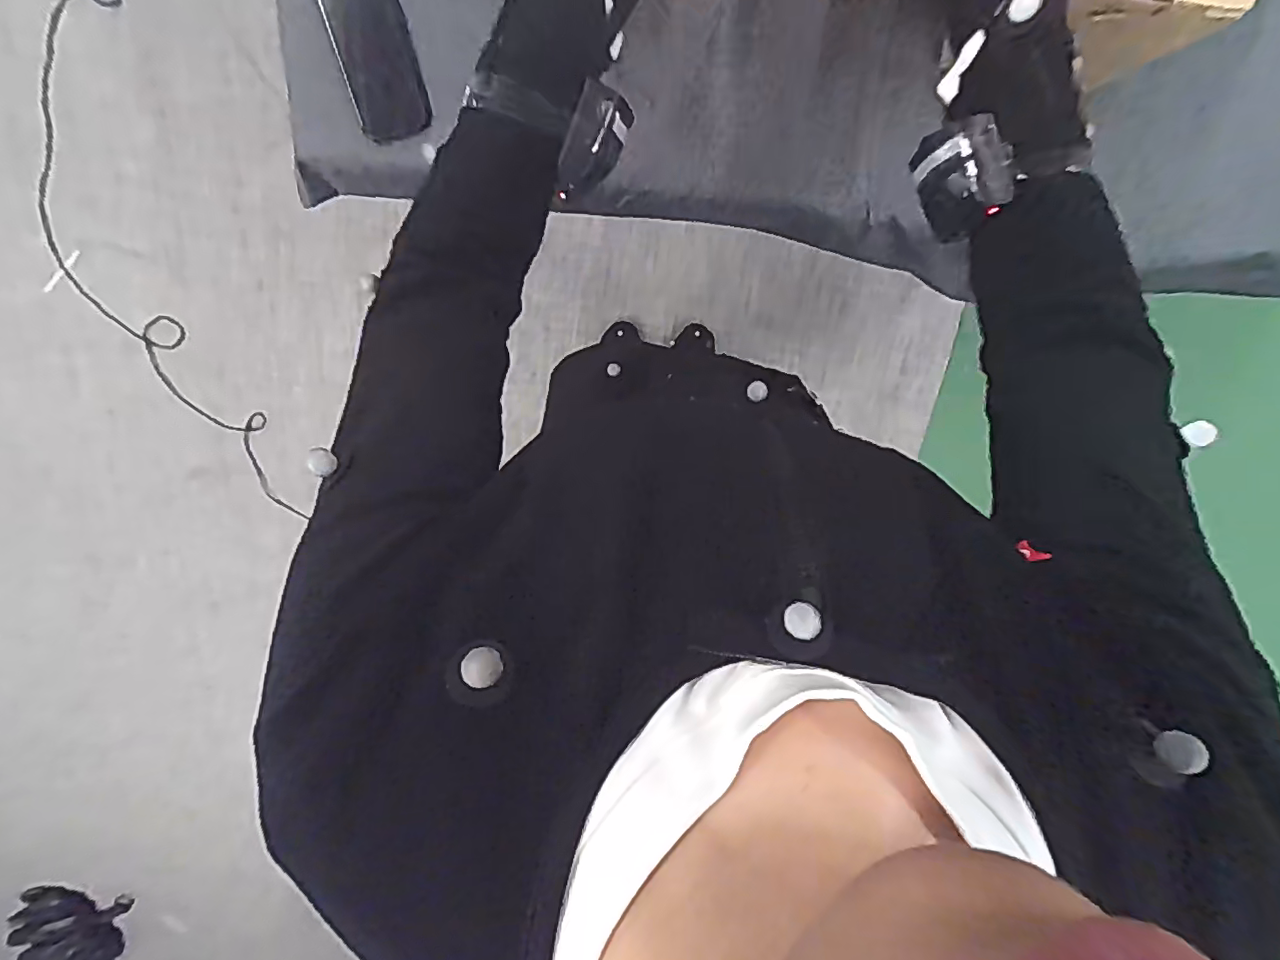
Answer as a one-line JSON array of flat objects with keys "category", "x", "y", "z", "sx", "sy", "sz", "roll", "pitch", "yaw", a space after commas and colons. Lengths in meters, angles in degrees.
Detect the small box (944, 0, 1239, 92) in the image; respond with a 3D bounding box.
[{"category": "small box", "x": 0.408, "y": -0.483, "z": 0.483, "sx": 0.168, "sy": 0.176, "sz": 0.179, "roll": 8, "pitch": 108, "yaw": -2}]
